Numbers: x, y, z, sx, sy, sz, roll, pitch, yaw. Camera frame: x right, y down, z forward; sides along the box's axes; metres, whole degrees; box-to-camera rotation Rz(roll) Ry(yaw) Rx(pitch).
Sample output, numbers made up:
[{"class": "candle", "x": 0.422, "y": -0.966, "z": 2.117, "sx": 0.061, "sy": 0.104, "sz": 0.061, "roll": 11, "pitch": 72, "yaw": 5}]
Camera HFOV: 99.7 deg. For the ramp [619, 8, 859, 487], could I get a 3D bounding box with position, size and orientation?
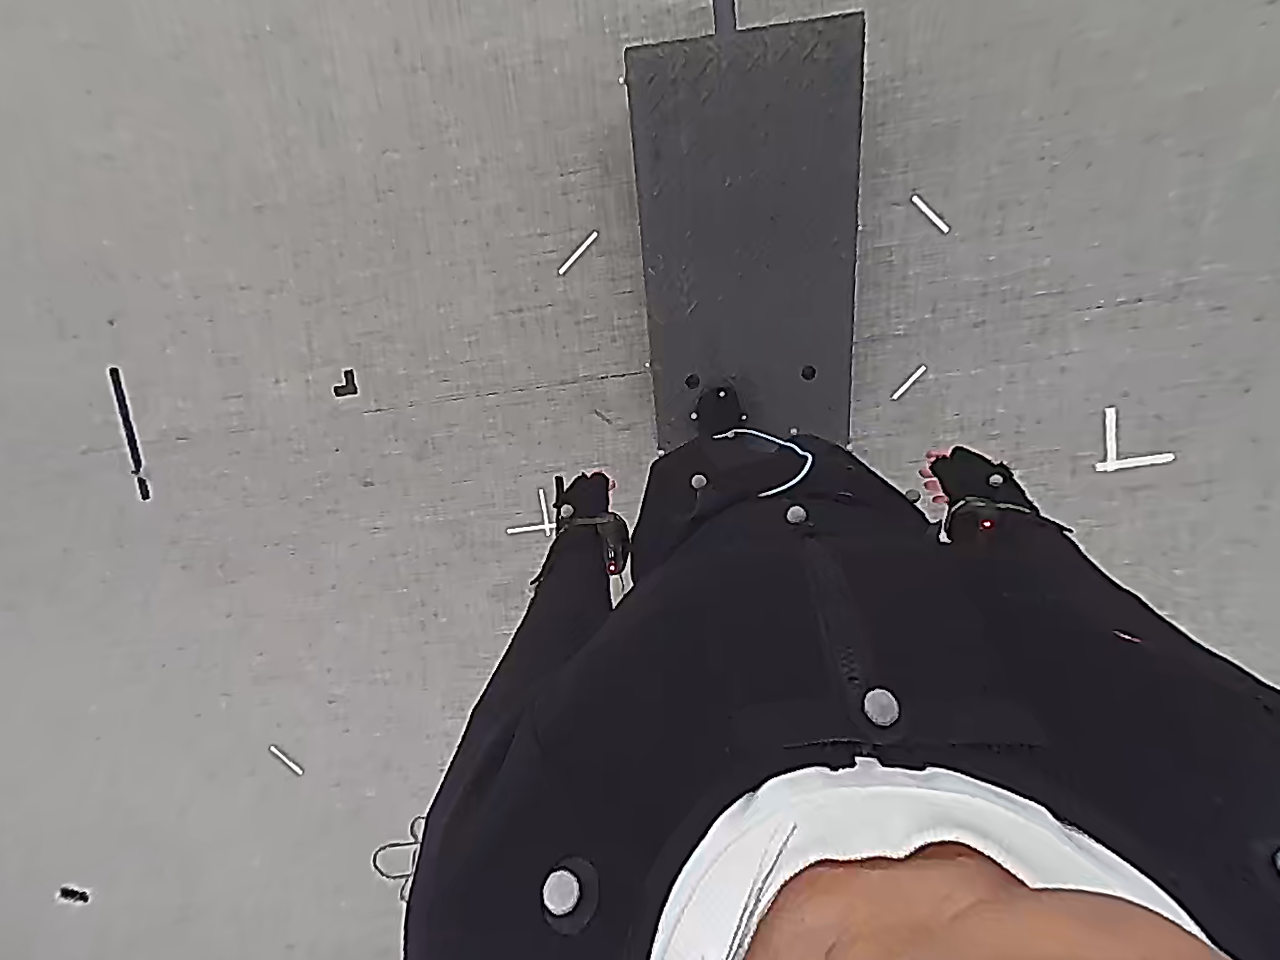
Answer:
[{"class": "ramp", "x": 0.249, "y": -0.461, "z": 1.279, "sx": 0.509, "sy": 0.206, "sz": 0.991, "roll": -5, "pitch": 101, "yaw": 6}]
